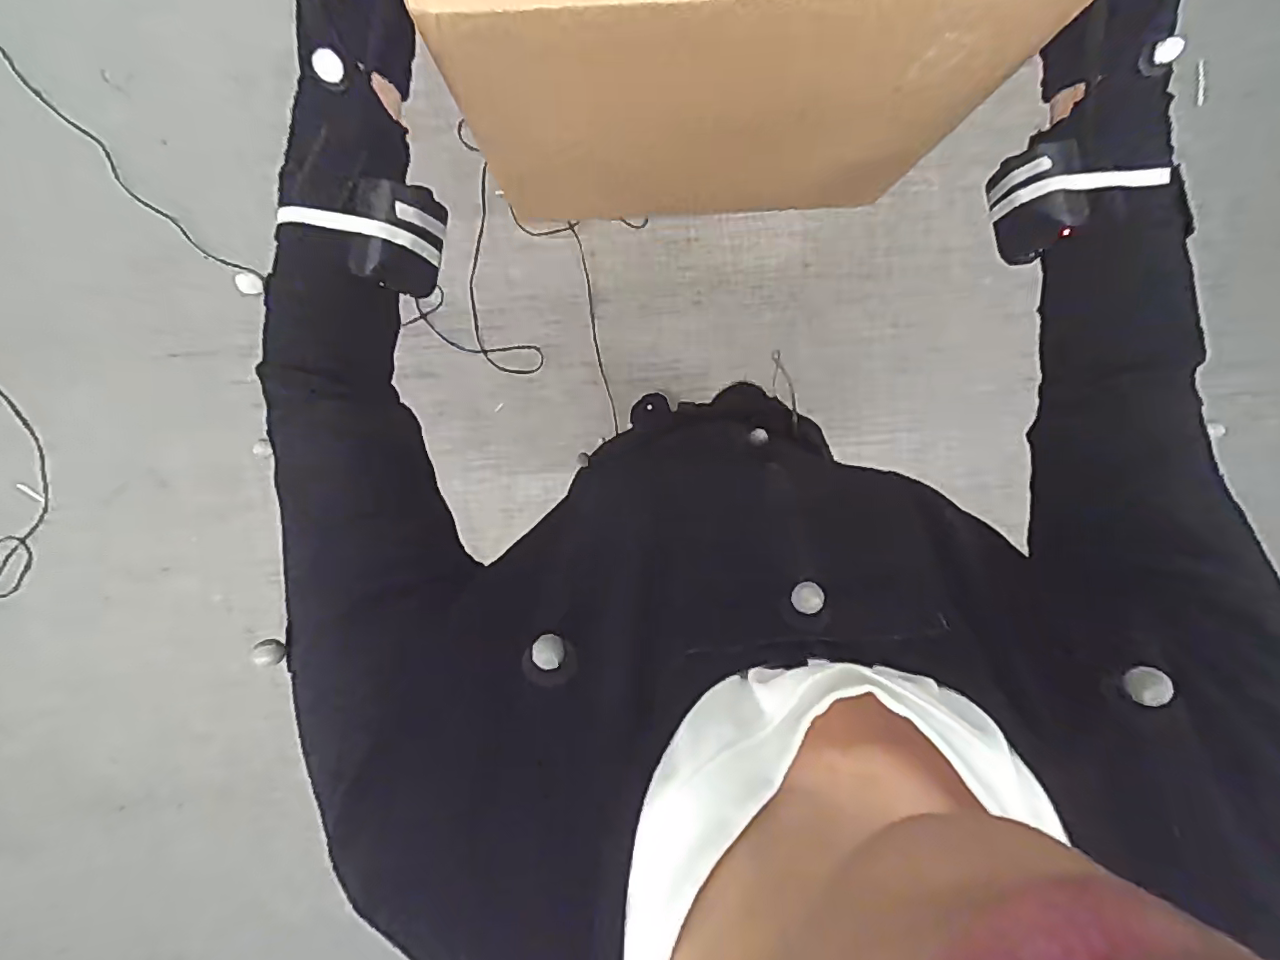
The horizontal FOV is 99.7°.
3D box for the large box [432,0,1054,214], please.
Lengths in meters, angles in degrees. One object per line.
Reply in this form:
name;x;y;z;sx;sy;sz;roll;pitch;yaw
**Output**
large box;0.057;-0.449;0.448;0.408;0.320;0.320;-4;96;-2
